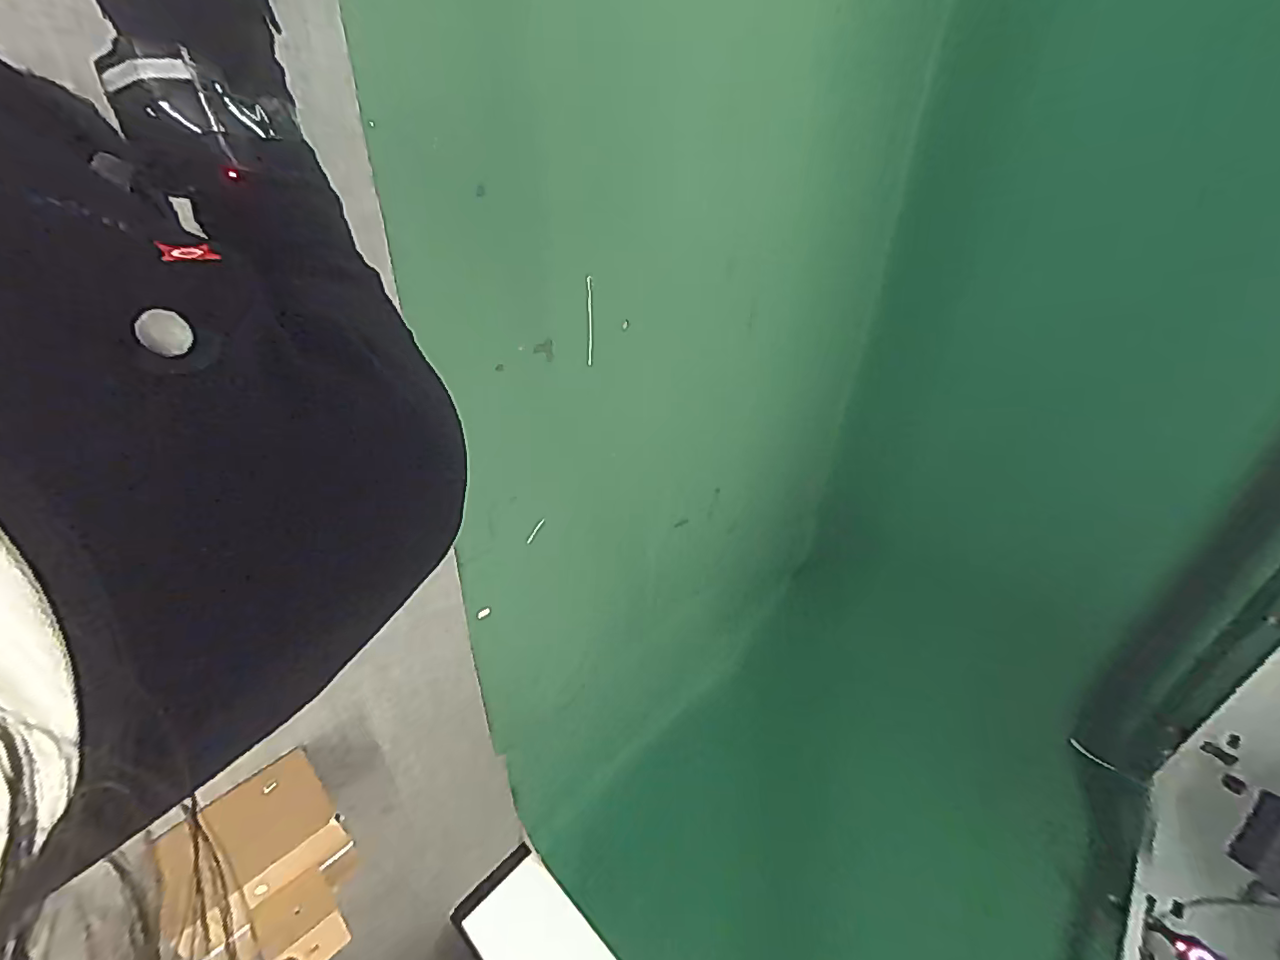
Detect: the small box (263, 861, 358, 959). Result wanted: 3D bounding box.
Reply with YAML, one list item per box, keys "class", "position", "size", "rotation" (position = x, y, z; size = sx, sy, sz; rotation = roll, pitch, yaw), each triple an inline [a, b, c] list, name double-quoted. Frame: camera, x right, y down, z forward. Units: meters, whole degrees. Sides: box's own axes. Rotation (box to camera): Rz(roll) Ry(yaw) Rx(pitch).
- class: "small box"
  position: [-0.915, 1.222, 1.496]
  size: [0.179, 0.176, 0.168]
  rotation: [-23, 126, -42]
